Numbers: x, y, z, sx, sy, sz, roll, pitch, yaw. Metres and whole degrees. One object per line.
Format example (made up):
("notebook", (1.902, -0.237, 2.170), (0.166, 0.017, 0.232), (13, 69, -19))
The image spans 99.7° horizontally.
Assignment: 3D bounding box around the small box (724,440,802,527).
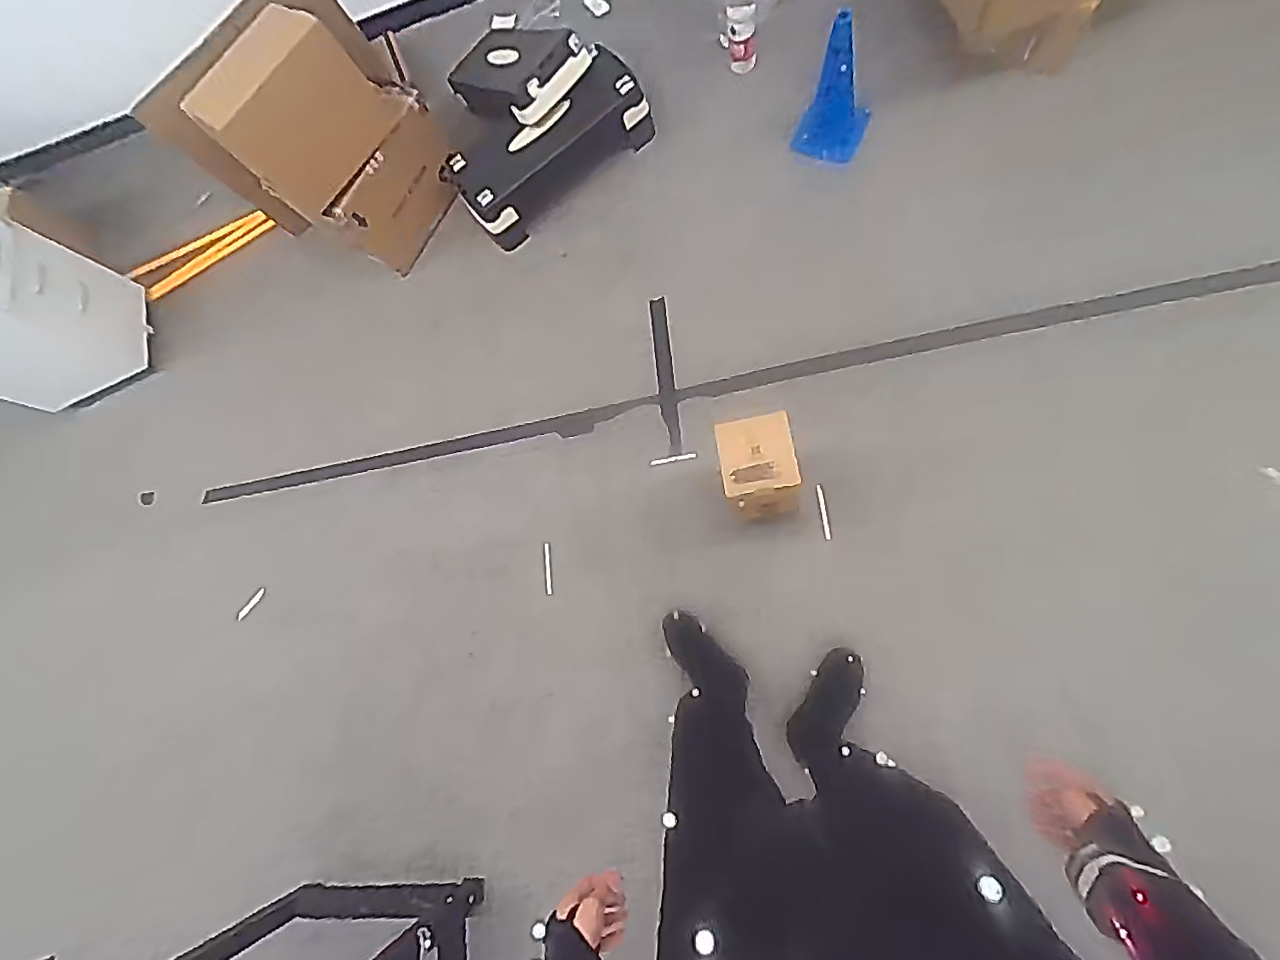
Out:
("small box", (0.323, 0.014, 1.427), (0.168, 0.176, 0.179), (-13, 75, 11))
